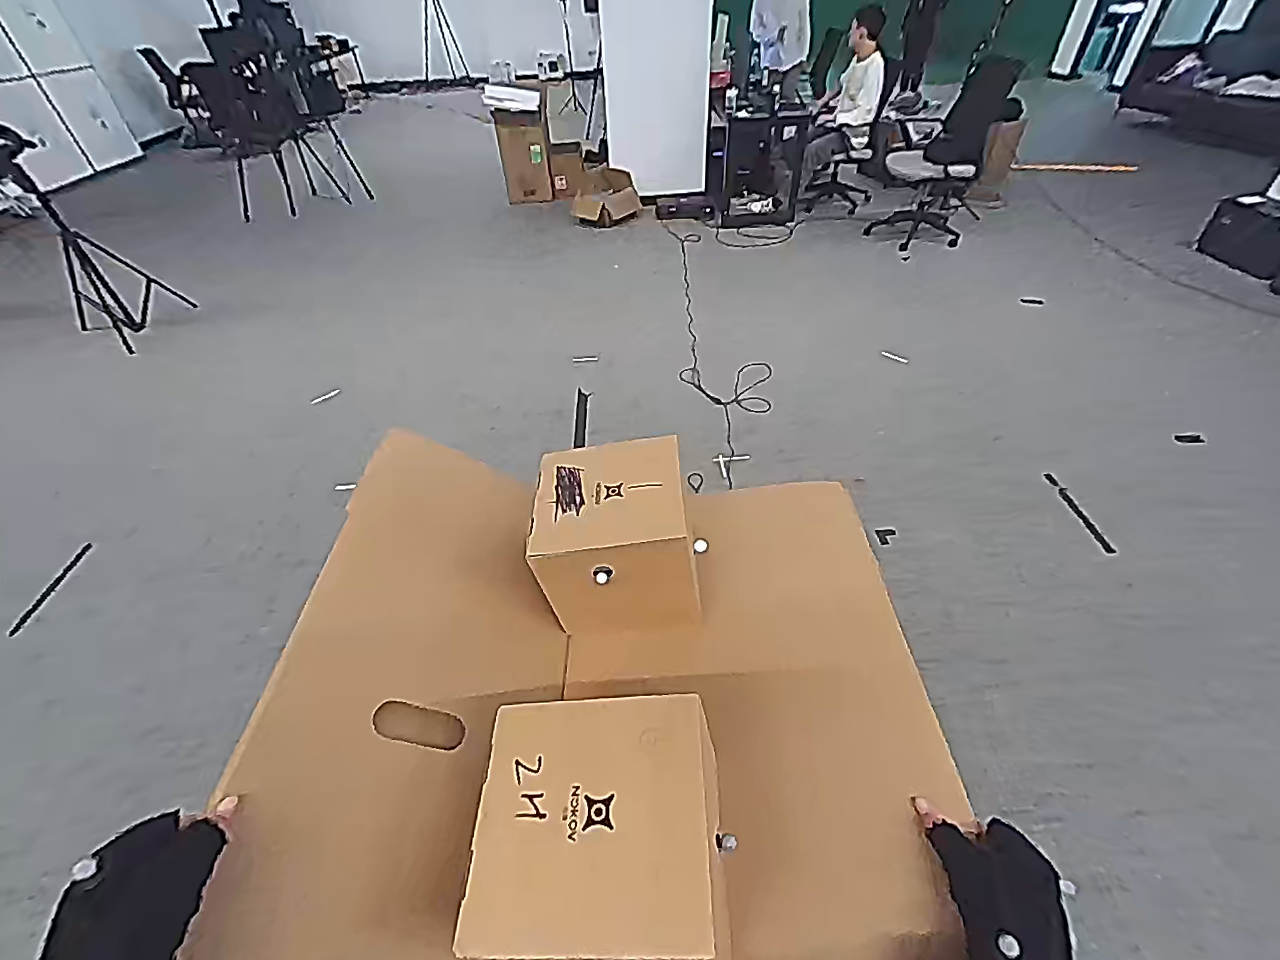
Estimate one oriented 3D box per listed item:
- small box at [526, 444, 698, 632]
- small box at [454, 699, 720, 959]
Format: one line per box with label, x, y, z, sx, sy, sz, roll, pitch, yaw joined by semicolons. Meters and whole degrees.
small box;-0.027;0.079;0.691;0.179;0.176;0.168;-8;45;6
small box;-0.025;0.304;0.464;0.179;0.176;0.168;-7;44;9
